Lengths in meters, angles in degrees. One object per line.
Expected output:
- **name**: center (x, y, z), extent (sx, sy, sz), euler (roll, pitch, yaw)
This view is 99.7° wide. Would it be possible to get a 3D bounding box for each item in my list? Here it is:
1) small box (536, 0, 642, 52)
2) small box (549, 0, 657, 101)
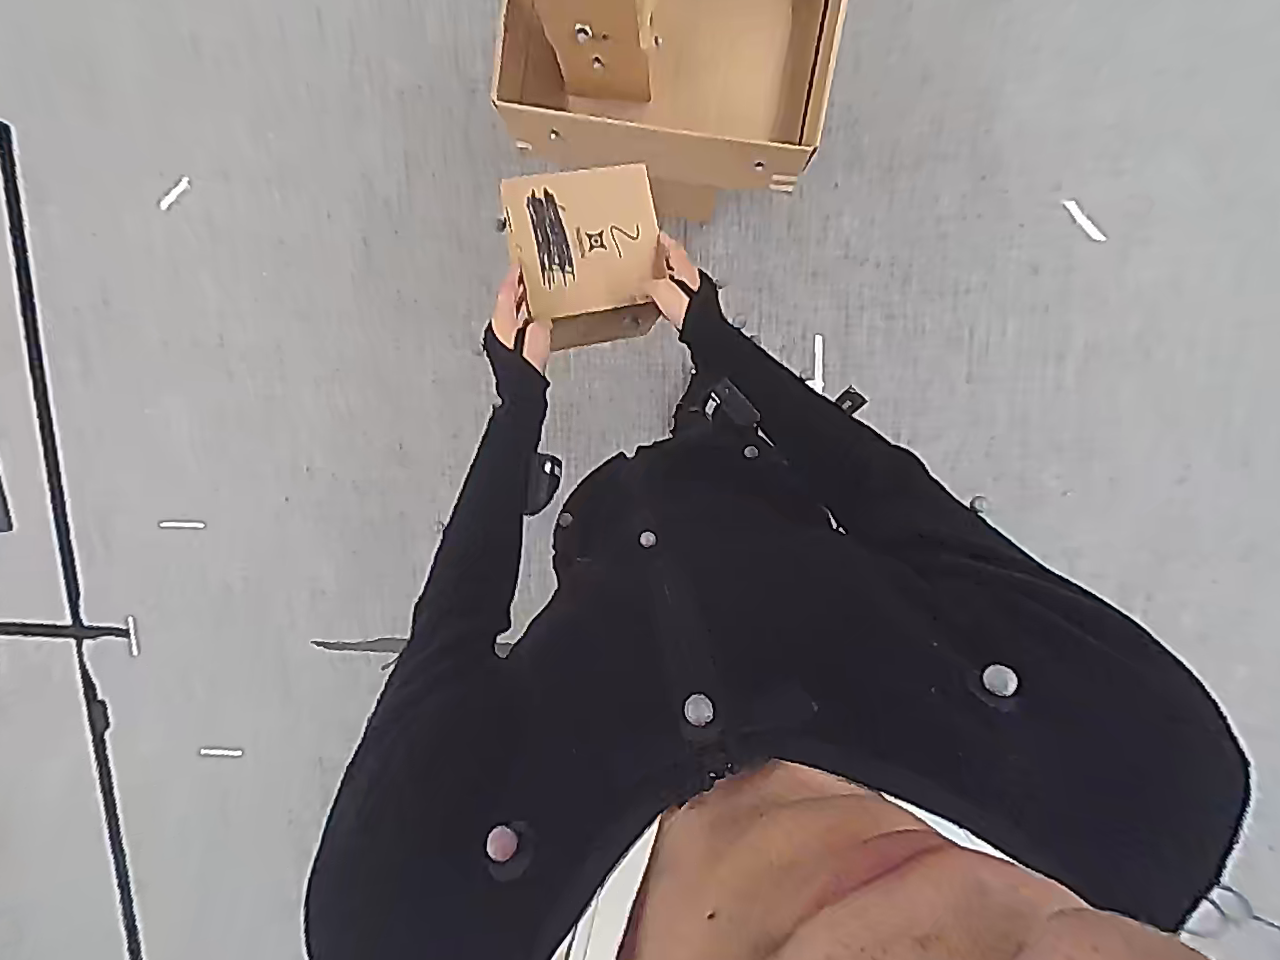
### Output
- **small box**: center (-0.083, -0.836, 0.863), extent (0.168, 0.176, 0.179), euler (4, 97, 4)
- **small box**: center (-0.064, -0.855, 1.025), extent (0.179, 0.176, 0.168), euler (6, 98, 2)
